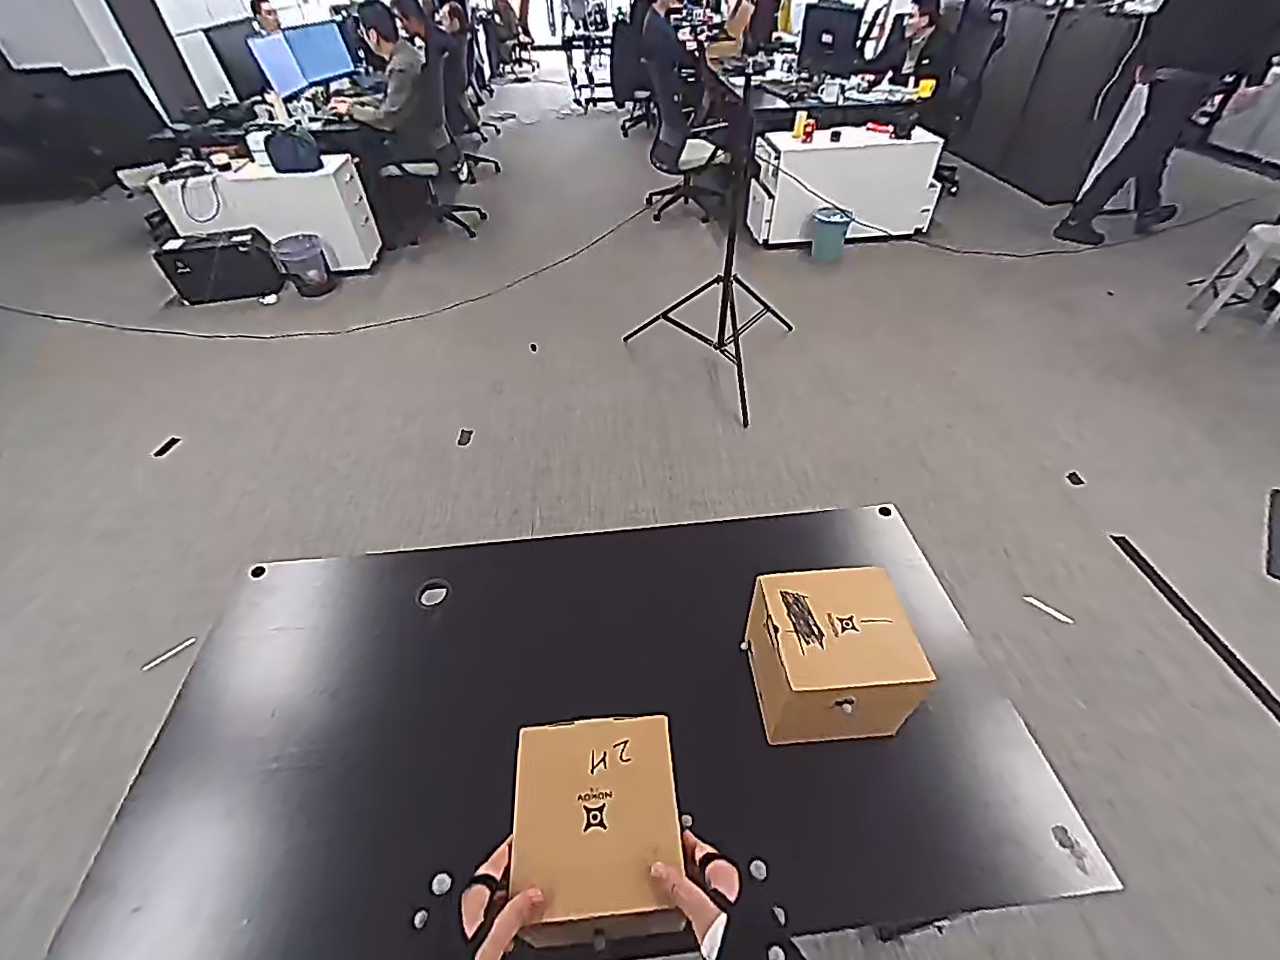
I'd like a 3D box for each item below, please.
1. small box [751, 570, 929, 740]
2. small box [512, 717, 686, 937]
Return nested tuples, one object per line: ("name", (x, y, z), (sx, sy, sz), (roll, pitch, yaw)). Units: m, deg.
("small box", (0.256, 0.245, 0.749), (0.179, 0.176, 0.168), (-4, 44, -2))
("small box", (-0.040, 0.393, 0.609), (0.168, 0.176, 0.179), (-4, 44, -2))
